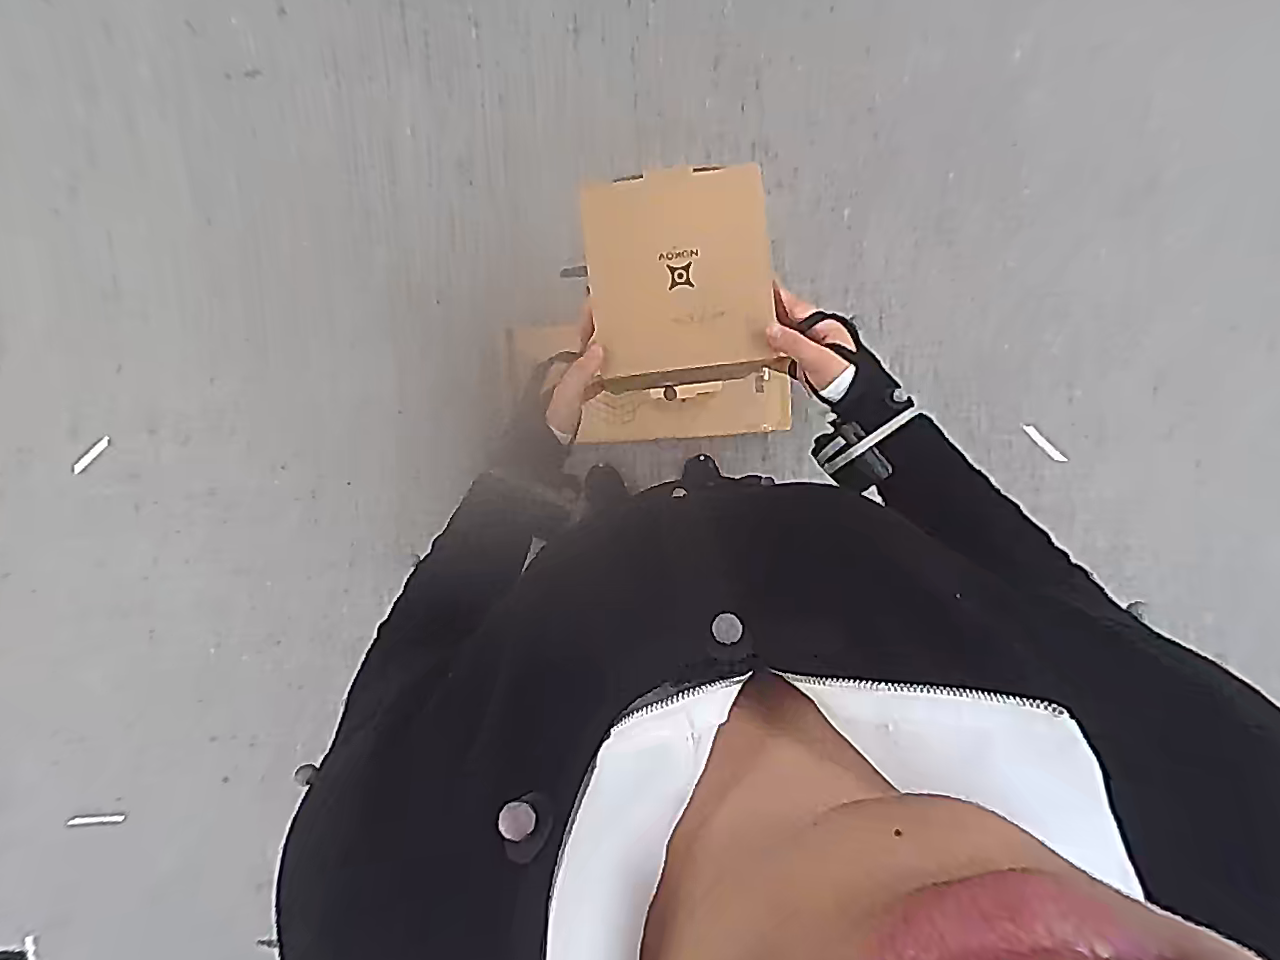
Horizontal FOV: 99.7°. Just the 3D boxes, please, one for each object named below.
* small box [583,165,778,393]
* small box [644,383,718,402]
[{"bbox_3d":[0.035,-0.193,0.565,0.168,0.176,0.179,-7,95,0],"label":"small box"},{"bbox_3d":[0.088,-0.282,1.298,0.168,0.176,0.179,-6,94,-2],"label":"small box"}]
